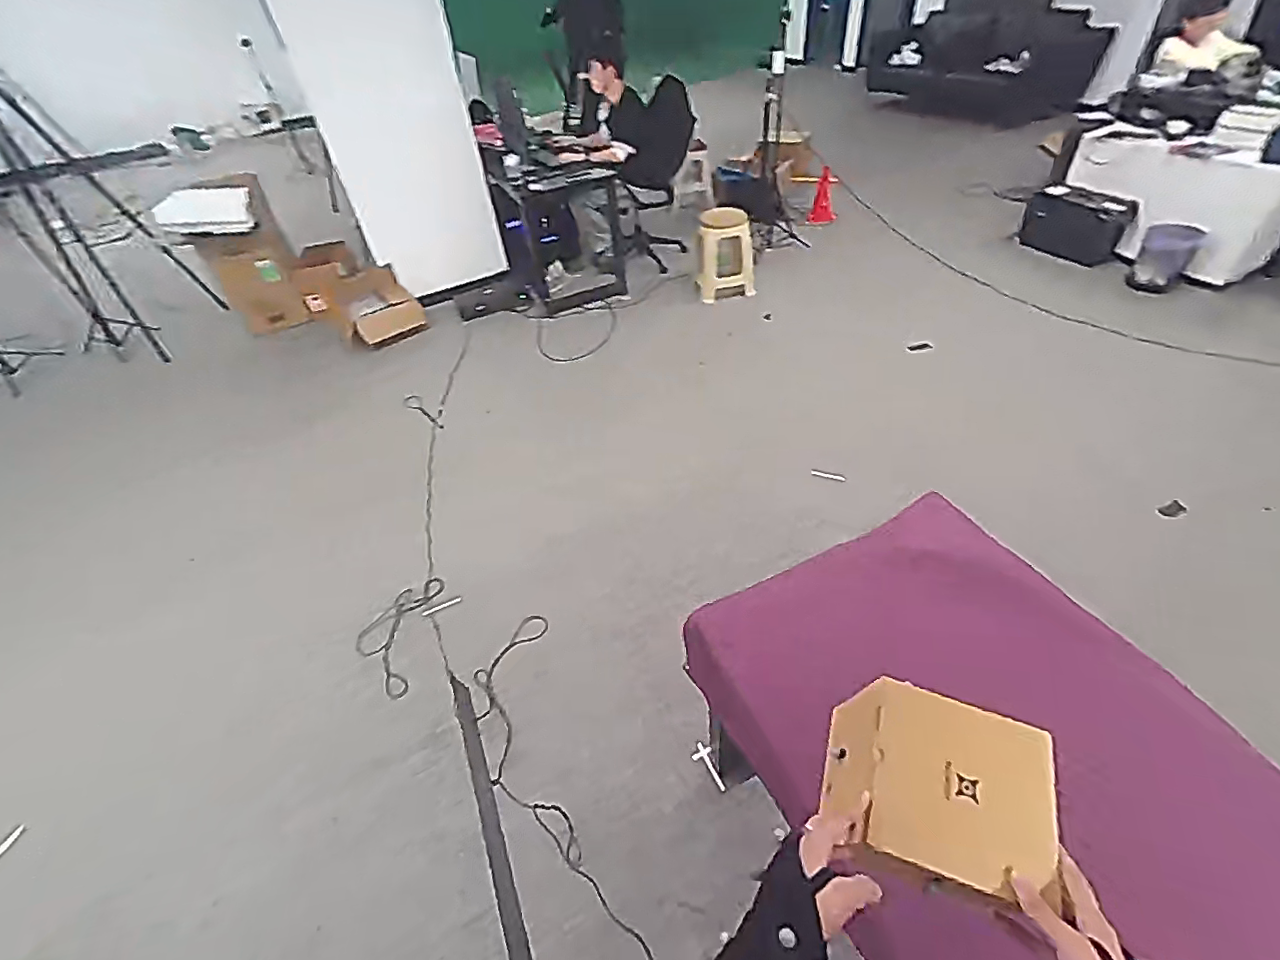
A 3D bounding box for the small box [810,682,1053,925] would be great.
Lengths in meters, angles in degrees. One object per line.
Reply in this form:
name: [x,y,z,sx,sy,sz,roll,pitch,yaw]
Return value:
small box: [0.307,0.349,0.598,0.179,0.176,0.168,16,57,10]
